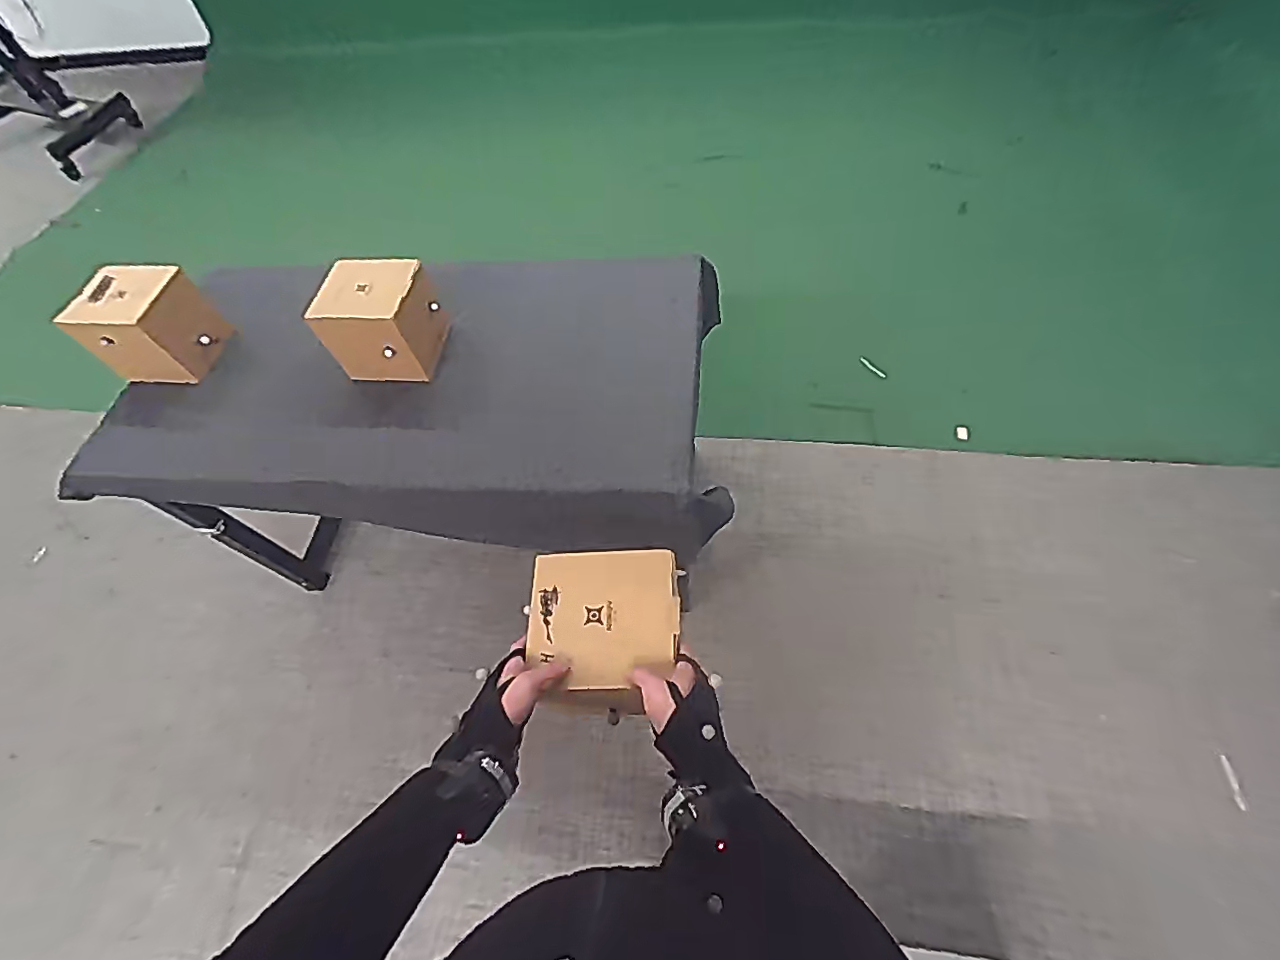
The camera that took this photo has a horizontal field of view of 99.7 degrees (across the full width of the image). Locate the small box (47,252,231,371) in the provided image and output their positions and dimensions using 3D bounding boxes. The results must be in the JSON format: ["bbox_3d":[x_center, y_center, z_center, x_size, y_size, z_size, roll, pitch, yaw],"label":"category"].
[{"bbox_3d":[-0.999,-0.338,1.097,0.179,0.176,0.168,4,61,5],"label":"small box"}]

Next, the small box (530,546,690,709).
[{"bbox_3d":[-0.029,0.194,0.694,0.179,0.176,0.168,-2,59,3],"label":"small box"}]

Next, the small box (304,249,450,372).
[{"bbox_3d":[-0.495,-0.325,1.052,0.179,0.176,0.168,2,59,7],"label":"small box"}]
